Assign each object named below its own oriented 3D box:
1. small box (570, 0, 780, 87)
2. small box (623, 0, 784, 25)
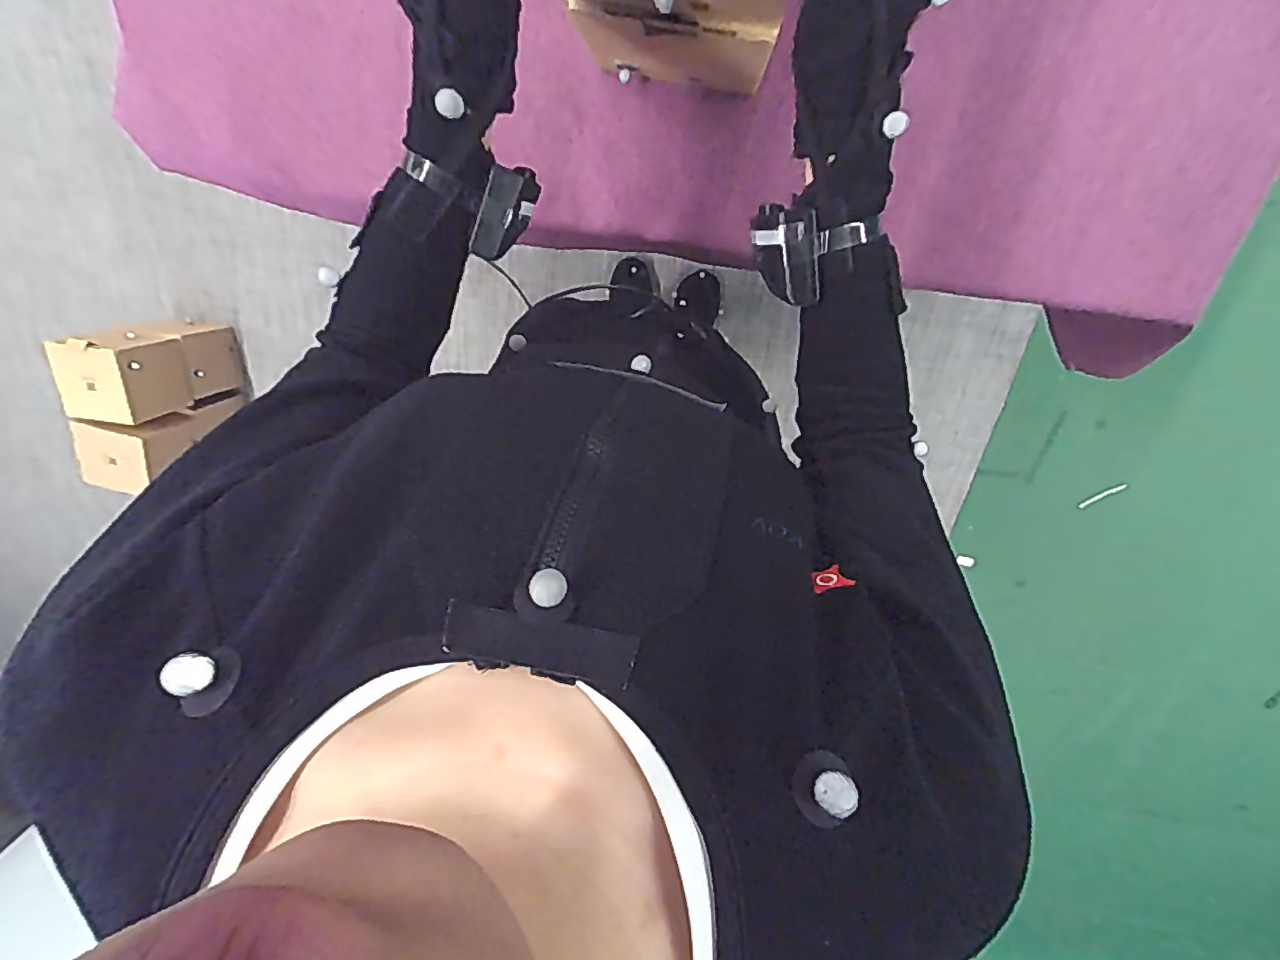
[{"bbox_3d":[0.046,-0.462,0.456,0.168,0.176,0.179,11,114,1],"label":"small box"},{"bbox_3d":[0.031,-0.404,0.303,0.168,0.176,0.179,11,115,1],"label":"small box"}]
